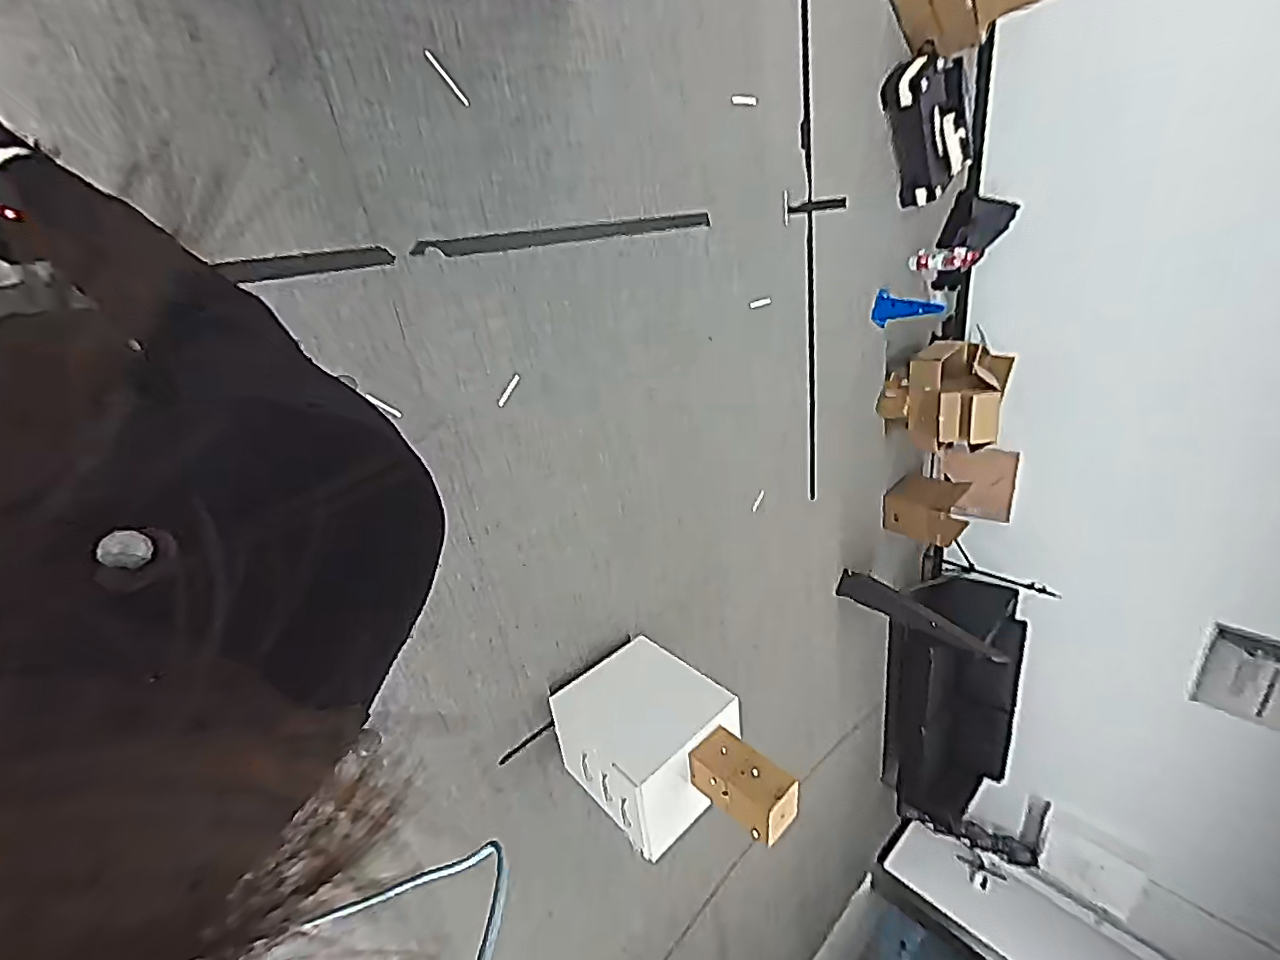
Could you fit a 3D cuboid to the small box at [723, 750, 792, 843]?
[{"bbox_3d":[0.393,1.059,1.824,0.168,0.176,0.179,-23,119,-38],"label":"small box"}]
